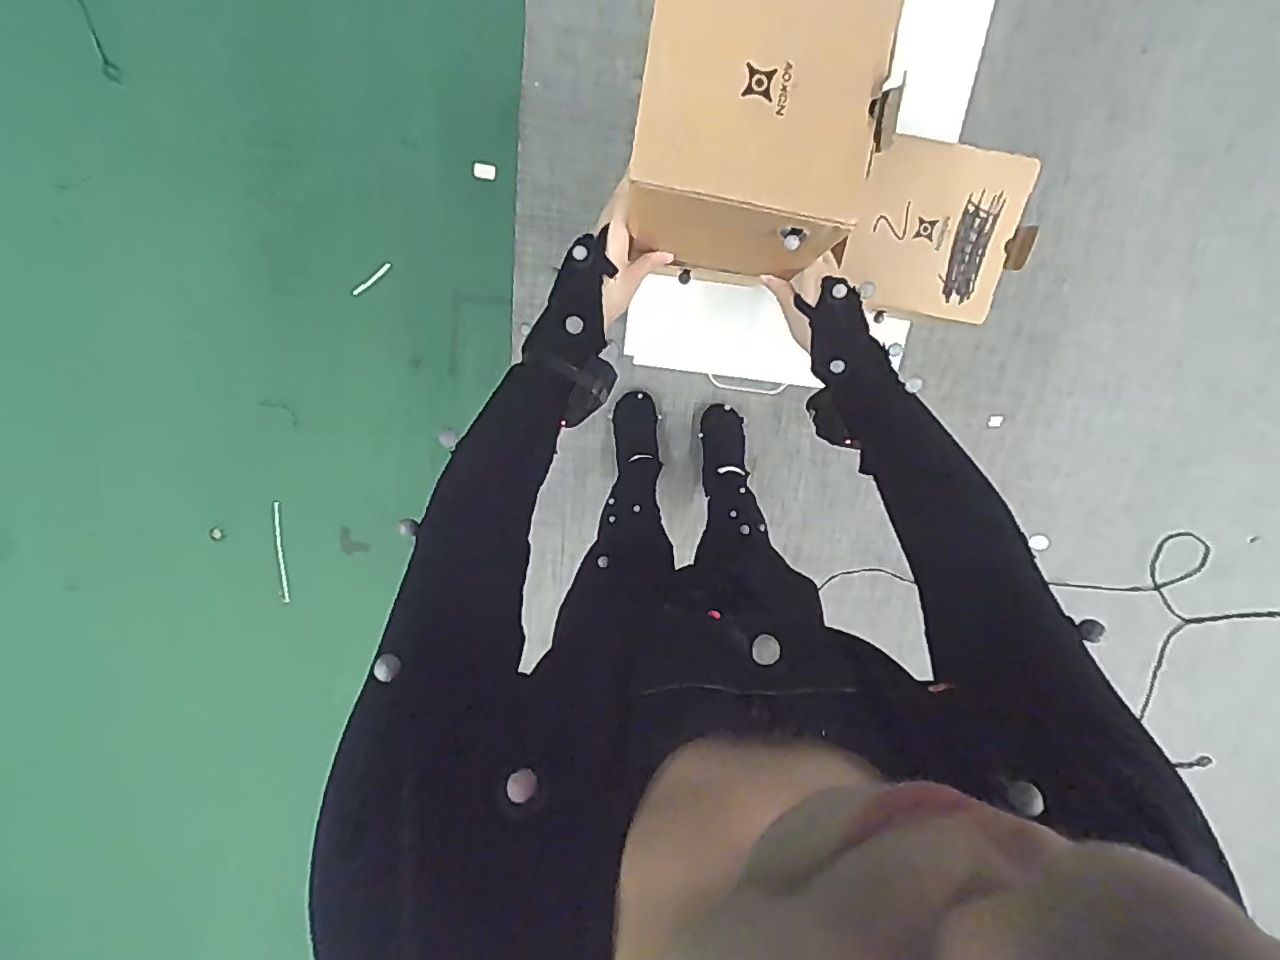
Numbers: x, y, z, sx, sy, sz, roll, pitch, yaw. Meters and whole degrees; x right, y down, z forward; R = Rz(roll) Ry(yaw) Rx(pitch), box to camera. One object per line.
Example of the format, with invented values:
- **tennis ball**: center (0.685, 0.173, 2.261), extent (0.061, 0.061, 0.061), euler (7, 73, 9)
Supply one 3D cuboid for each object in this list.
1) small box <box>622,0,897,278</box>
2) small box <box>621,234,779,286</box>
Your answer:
- **small box**: center (0.081, -0.287, 0.466), extent (0.179, 0.176, 0.168), euler (9, 97, -5)
- **small box**: center (0.075, -0.327, 0.638), extent (0.179, 0.176, 0.168), euler (6, 108, -2)
